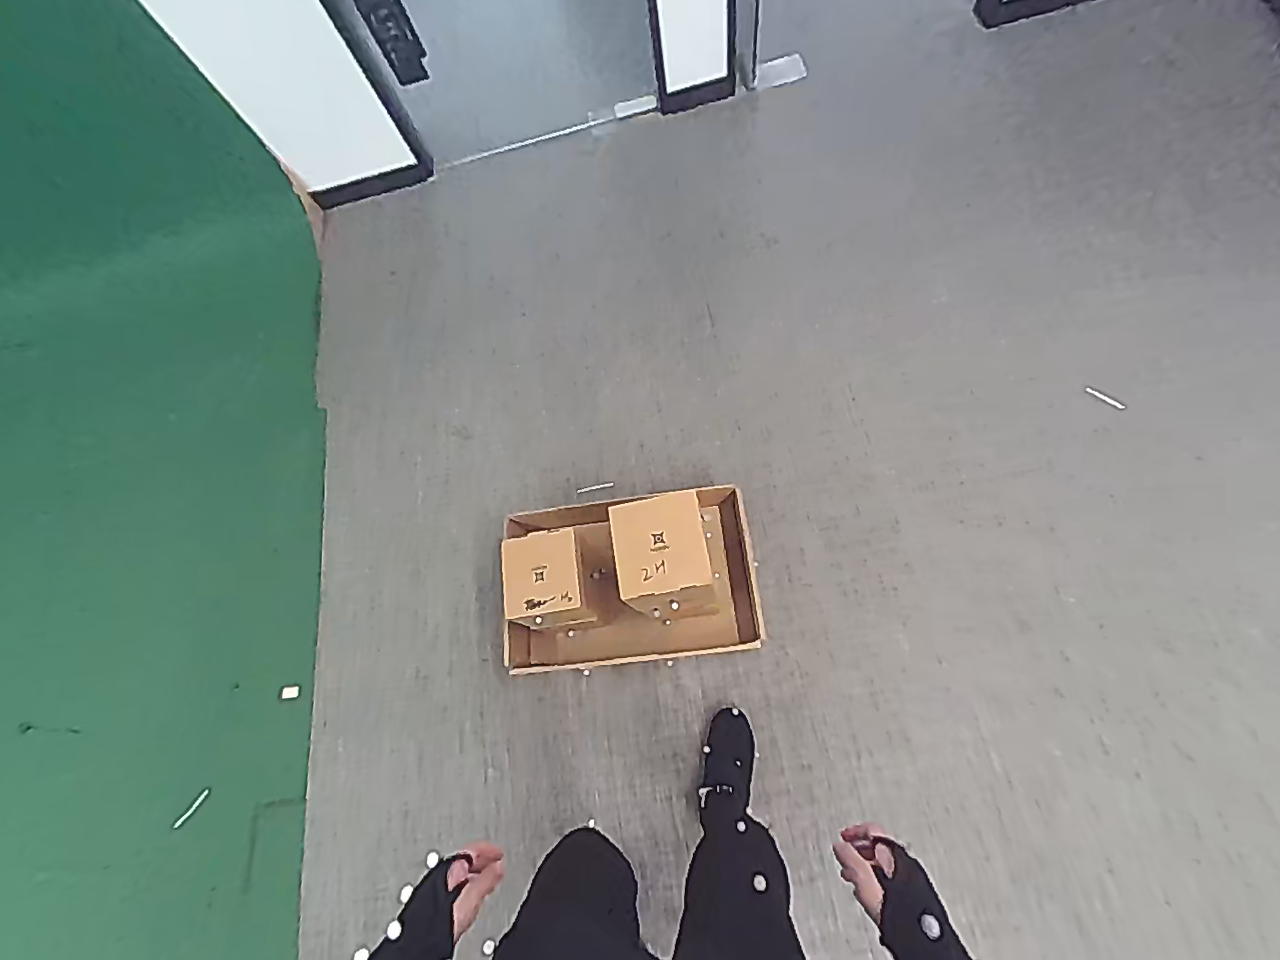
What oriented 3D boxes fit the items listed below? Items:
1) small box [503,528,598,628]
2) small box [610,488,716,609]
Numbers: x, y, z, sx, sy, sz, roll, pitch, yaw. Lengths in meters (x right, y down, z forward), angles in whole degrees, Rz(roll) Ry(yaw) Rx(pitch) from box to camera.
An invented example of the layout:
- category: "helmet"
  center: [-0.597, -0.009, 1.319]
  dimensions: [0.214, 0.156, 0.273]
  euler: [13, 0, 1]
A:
- category: "small box"
  center: [-0.197, 0.224, 1.214]
  dimensions: [0.168, 0.176, 0.179]
  euler: [-11, 67, 7]
- category: "small box"
  center: [0.047, 0.136, 1.026]
  dimensions: [0.168, 0.176, 0.179]
  euler: [-12, 68, 7]
